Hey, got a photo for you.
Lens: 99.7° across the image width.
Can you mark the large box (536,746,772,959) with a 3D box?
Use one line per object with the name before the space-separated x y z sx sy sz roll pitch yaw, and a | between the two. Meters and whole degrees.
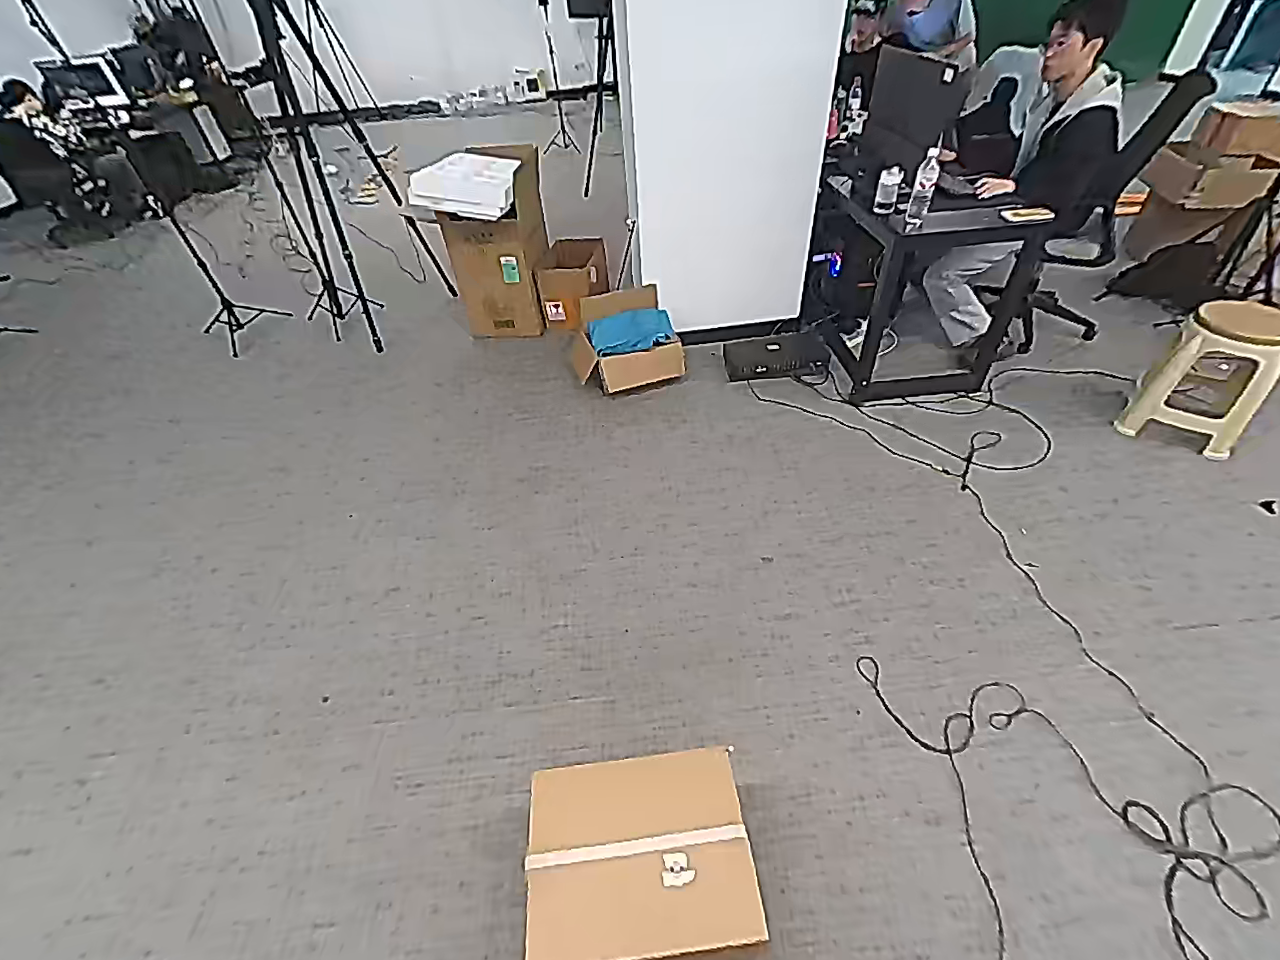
large box | 0.016 0.786 1.097 0.408 0.320 0.320 -7 43 -2
